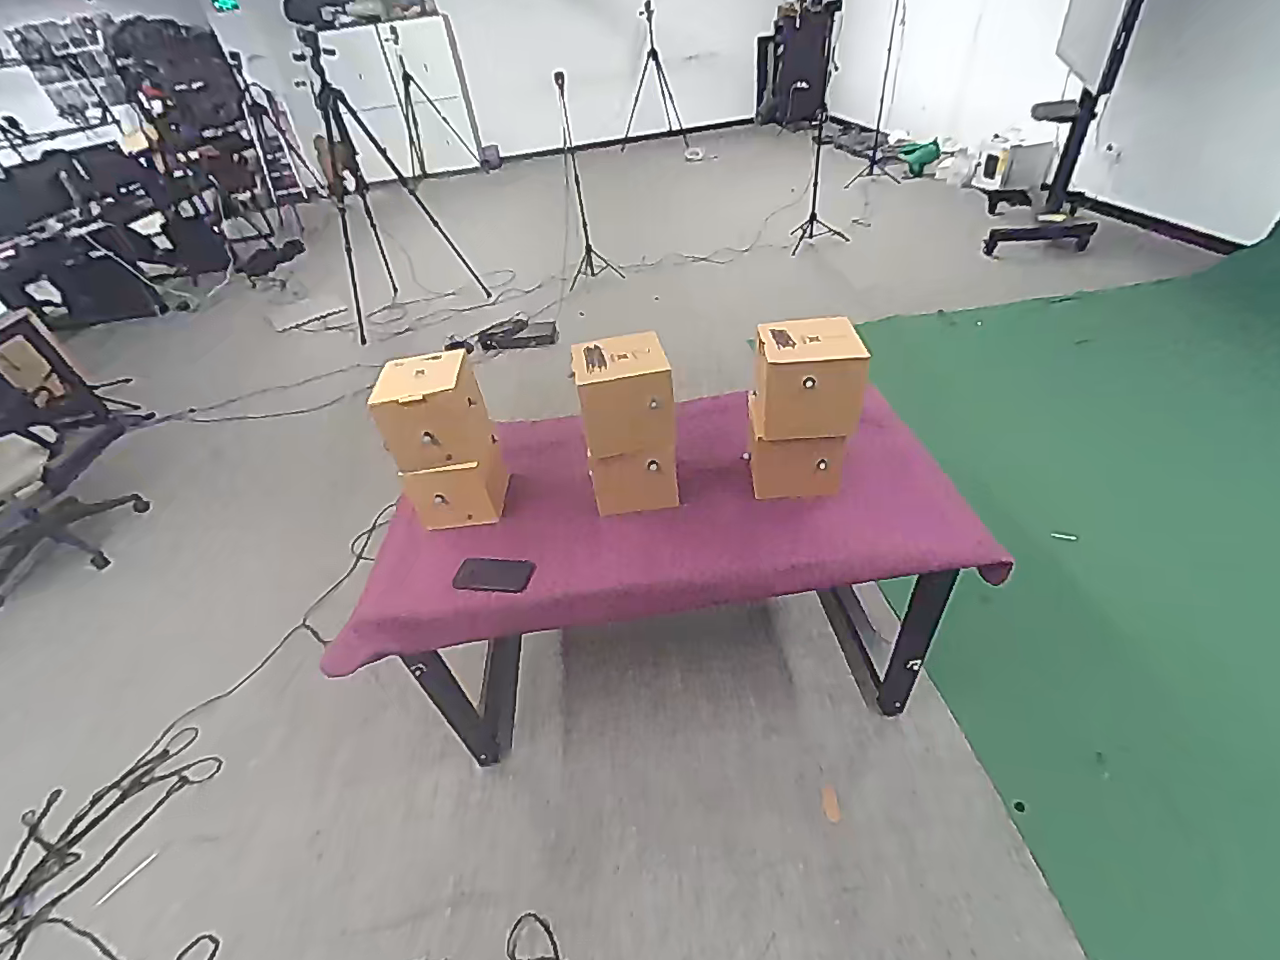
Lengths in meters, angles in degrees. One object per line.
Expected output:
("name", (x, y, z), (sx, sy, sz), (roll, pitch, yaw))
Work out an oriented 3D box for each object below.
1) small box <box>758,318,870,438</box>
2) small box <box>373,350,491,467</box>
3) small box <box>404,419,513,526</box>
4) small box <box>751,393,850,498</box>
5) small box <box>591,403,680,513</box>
("small box", (0.322, -0.193, 1.038), (0.179, 0.176, 0.168), (-3, 40, 6))
("small box", (-0.414, -0.141, 1.112), (0.168, 0.176, 0.179), (-9, 41, -2))
("small box", (-0.394, -0.011, 1.211), (0.168, 0.176, 0.179), (-7, 40, 3))
("small box", (0.333, -0.077, 1.155), (0.179, 0.176, 0.168), (-3, 40, 8))
("small box", (-0.006, -0.047, 1.178), (0.179, 0.176, 0.168), (-7, 40, 2))
